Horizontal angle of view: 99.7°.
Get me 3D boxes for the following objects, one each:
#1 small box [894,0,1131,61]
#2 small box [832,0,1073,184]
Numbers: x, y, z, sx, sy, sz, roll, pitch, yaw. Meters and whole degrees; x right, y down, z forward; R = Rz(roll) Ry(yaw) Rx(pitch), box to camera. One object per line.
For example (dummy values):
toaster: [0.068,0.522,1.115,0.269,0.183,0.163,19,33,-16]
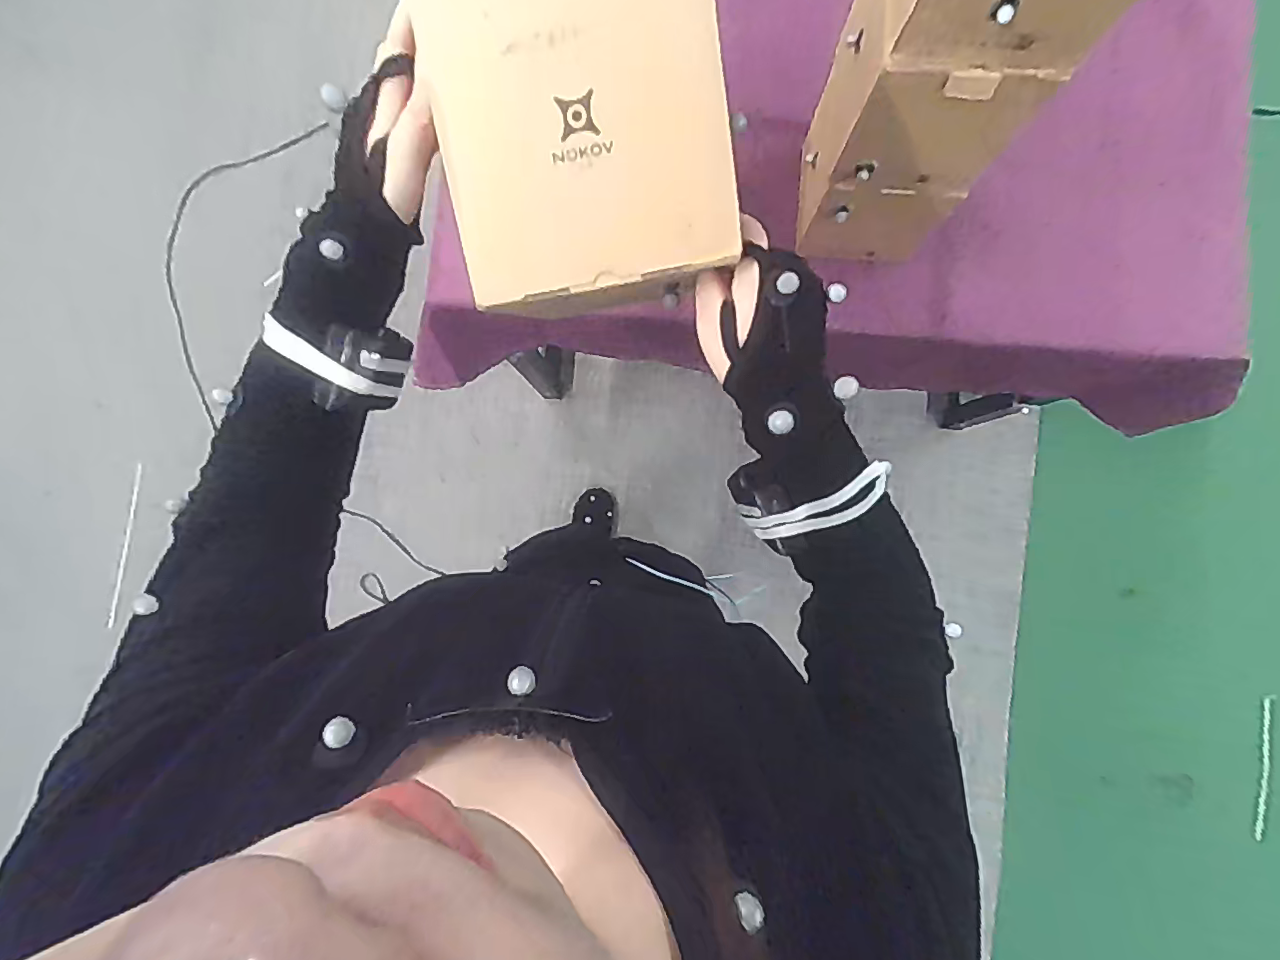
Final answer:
small box: [0.308,-0.463,0.404,0.168,0.176,0.179,4,86,2]
small box: [0.310,-0.441,0.565,0.168,0.176,0.179,5,85,2]
